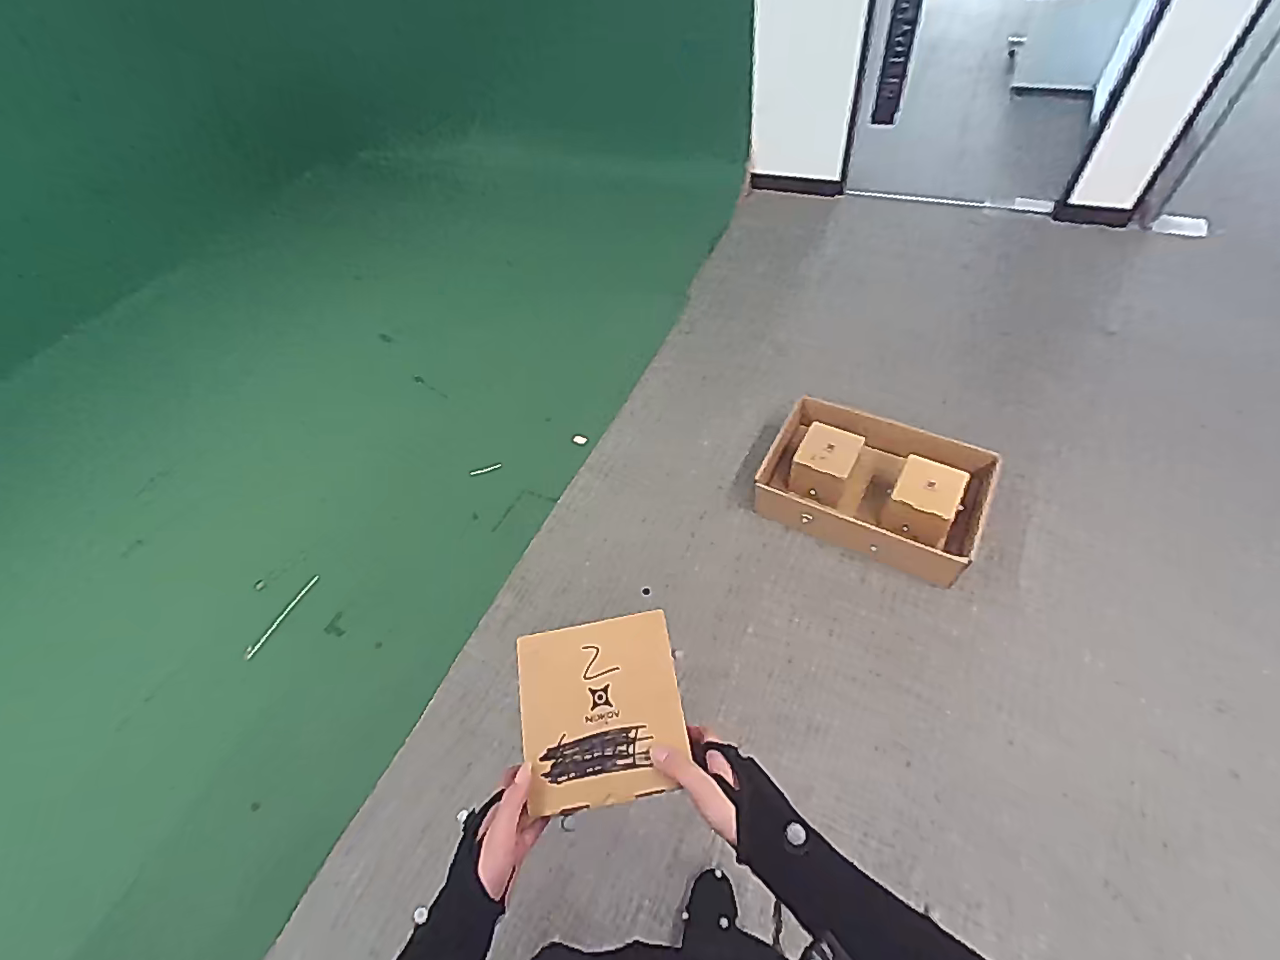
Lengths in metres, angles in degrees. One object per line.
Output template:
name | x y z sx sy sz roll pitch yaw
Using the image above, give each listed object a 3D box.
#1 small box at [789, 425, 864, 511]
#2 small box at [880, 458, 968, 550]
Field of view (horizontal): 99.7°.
small box | 0.578 -0.035 1.698 0.168 0.176 0.179 23 61 23
small box | 0.823 0.072 1.583 0.168 0.176 0.179 23 62 24
